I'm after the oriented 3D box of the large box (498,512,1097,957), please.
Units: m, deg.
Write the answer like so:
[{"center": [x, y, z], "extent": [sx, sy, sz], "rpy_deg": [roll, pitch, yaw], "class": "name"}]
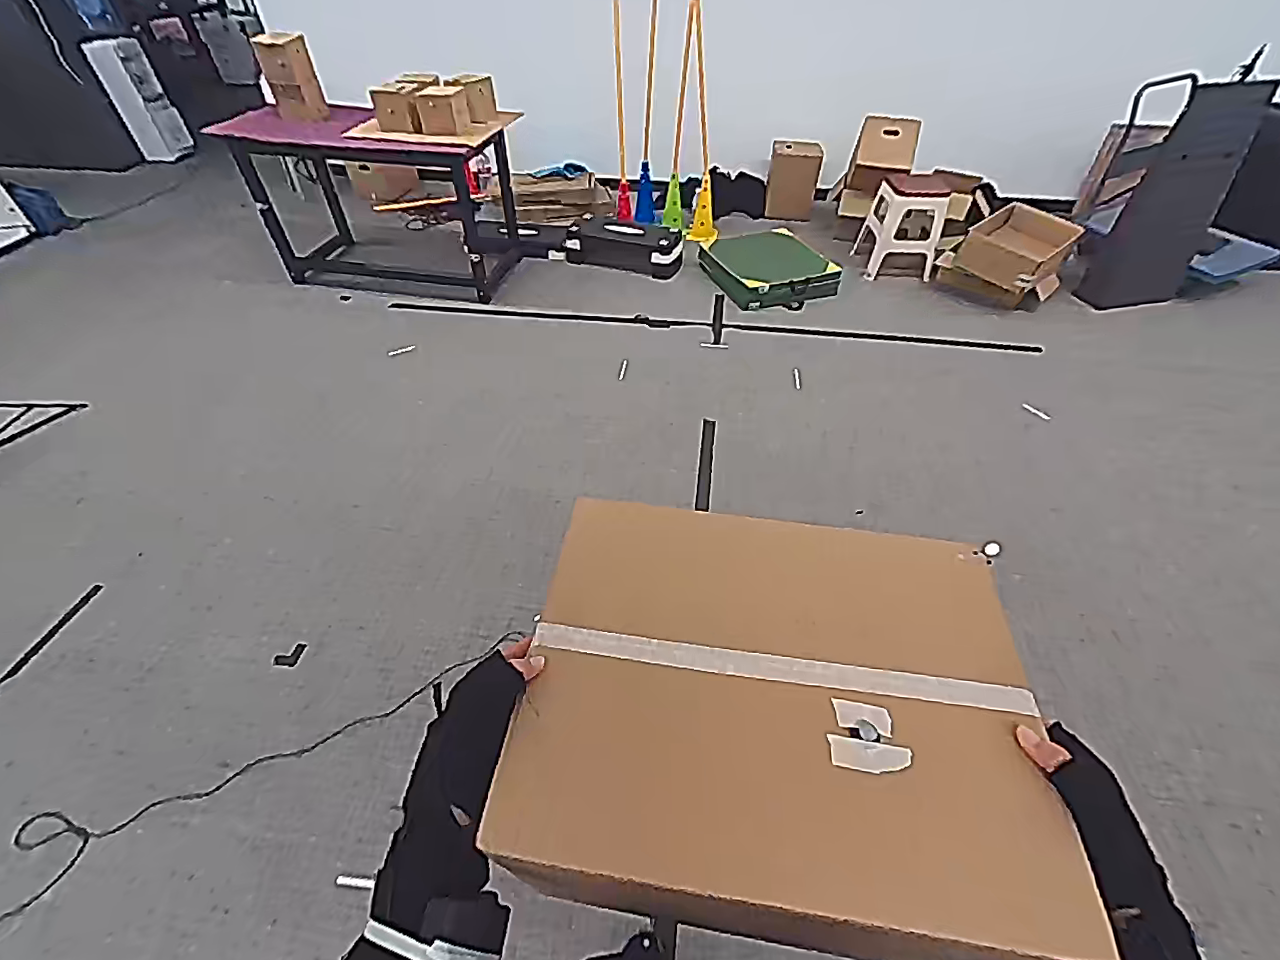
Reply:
[{"center": [0.112, 0.263, 0.565], "extent": [0.408, 0.320, 0.320], "rpy_deg": [7, 49, 5], "class": "large box"}]
